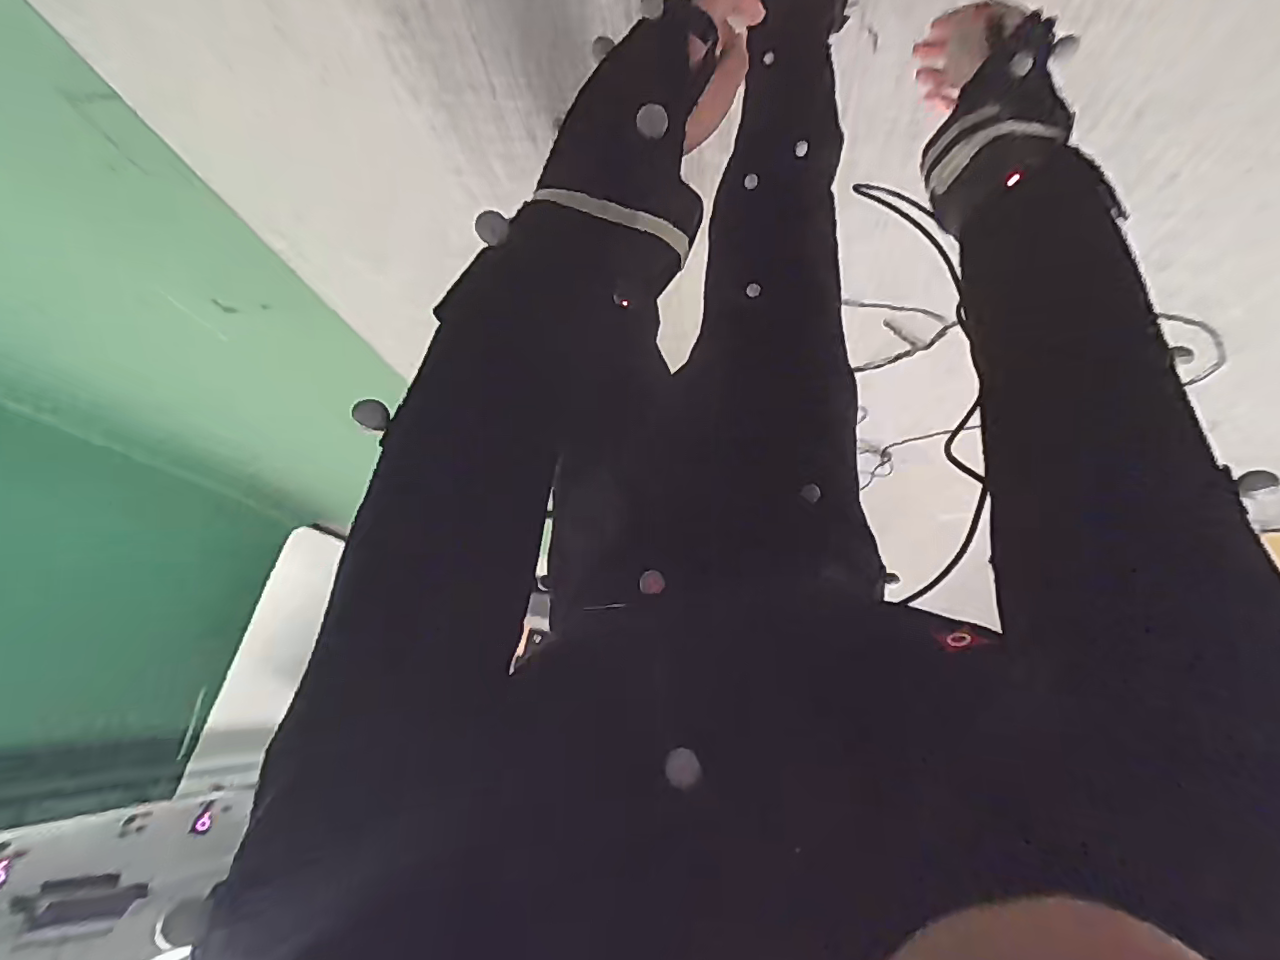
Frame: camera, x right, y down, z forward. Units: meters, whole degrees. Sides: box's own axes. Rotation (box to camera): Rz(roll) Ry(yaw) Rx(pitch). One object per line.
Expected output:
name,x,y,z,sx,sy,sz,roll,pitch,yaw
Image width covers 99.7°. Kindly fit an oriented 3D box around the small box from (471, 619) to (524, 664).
small box,-0.652,0.745,2.492,0.168,0.176,0.179,9,160,10
